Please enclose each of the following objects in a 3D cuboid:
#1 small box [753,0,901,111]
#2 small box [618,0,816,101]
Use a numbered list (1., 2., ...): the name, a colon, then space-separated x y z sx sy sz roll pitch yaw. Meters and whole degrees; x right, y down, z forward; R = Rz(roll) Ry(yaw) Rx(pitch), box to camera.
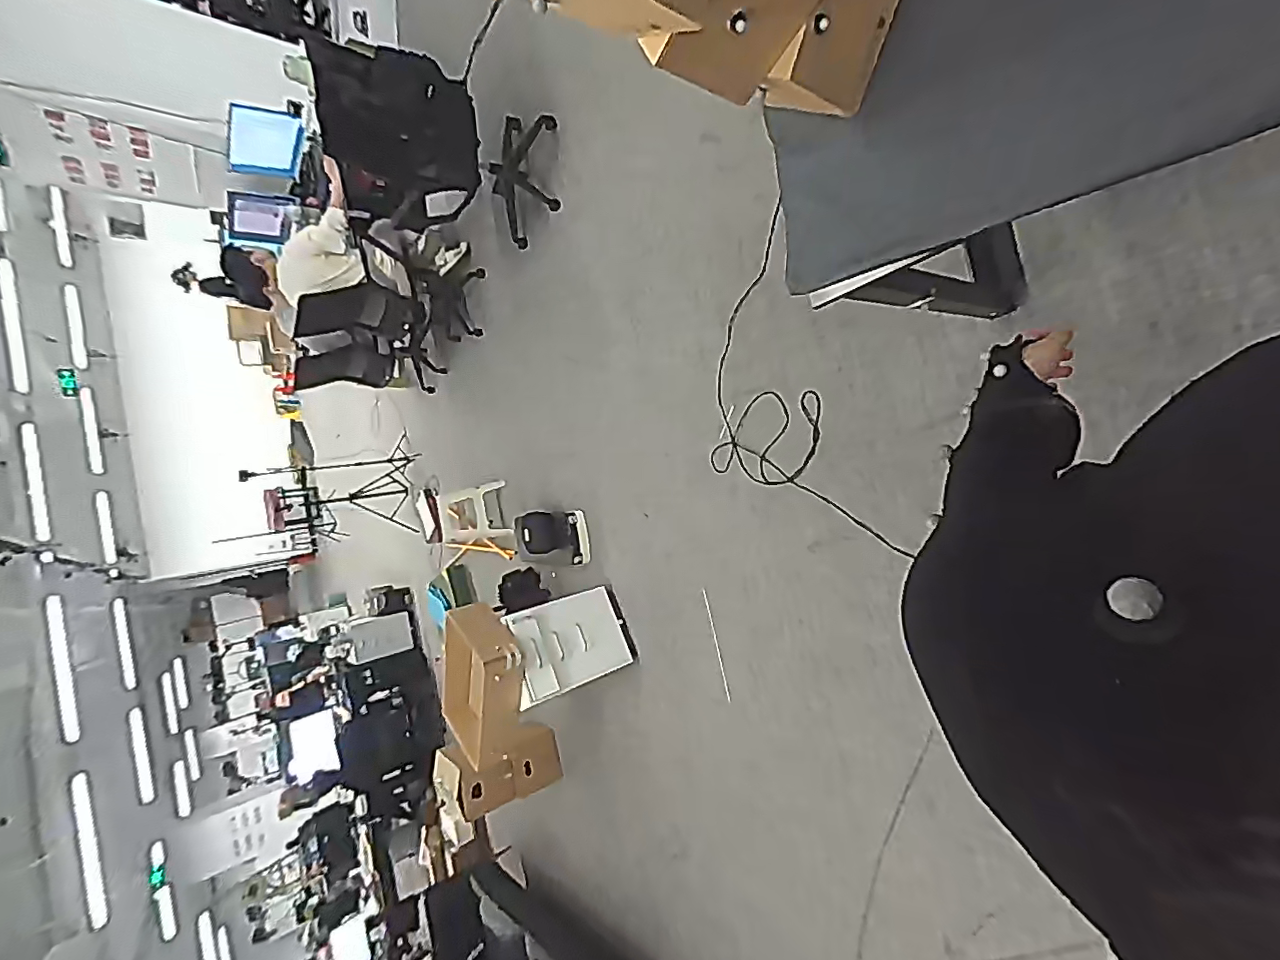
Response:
1. small box: 0.222 -0.633 0.747 0.179 0.176 0.168 42 128 38
2. small box: 0.095 -0.607 0.645 0.179 0.176 0.168 -41 66 48
